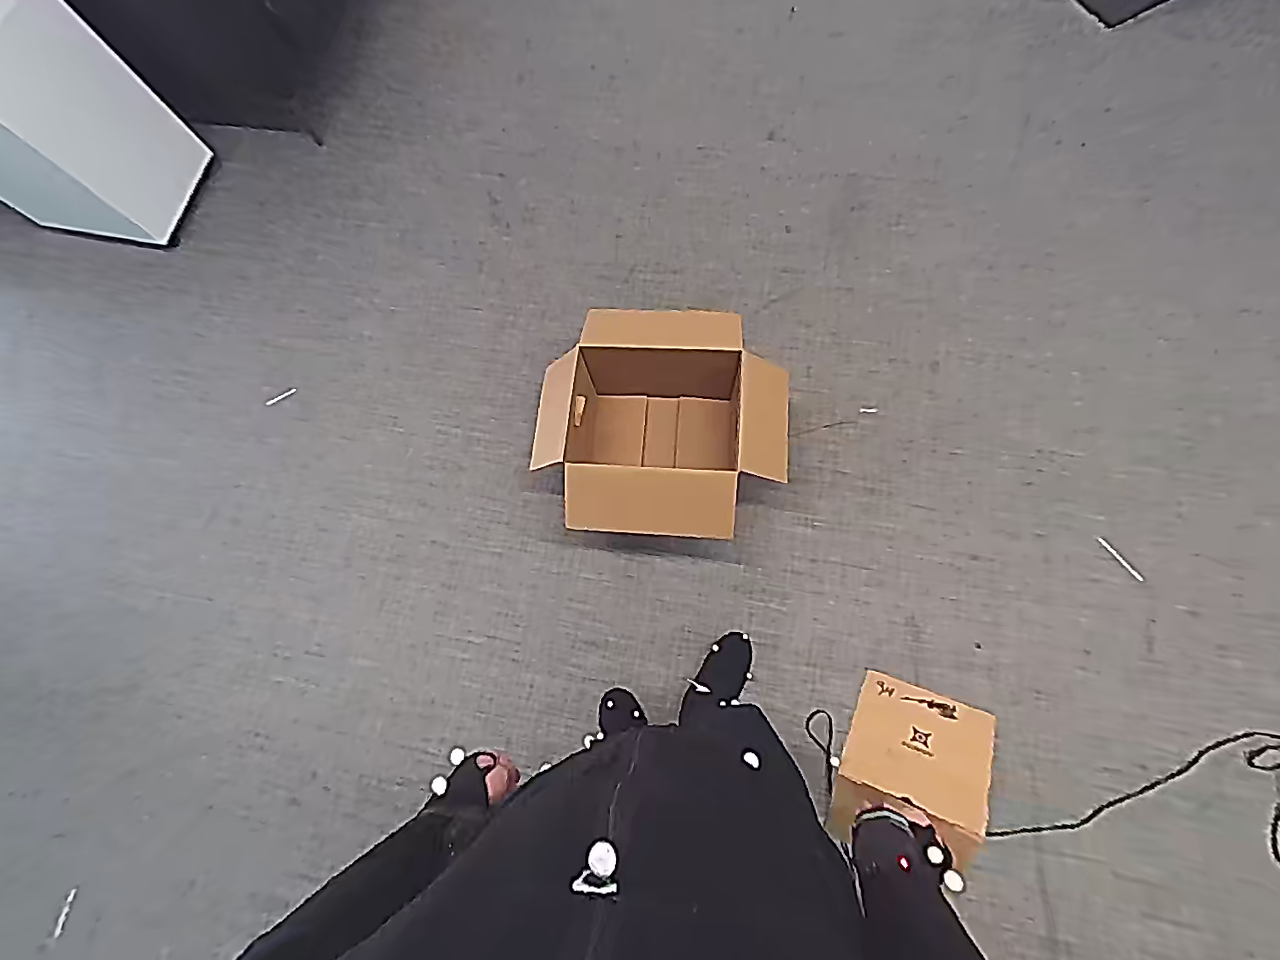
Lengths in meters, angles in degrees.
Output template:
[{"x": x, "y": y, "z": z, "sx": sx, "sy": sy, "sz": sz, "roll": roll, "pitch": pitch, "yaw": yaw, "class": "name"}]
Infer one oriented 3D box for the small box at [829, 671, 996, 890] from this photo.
[{"x": 0.369, "y": 0.411, "z": 0.748, "sx": 0.168, "sy": 0.176, "sz": 0.179, "roll": 16, "pitch": 39, "yaw": 30, "class": "small box"}]
